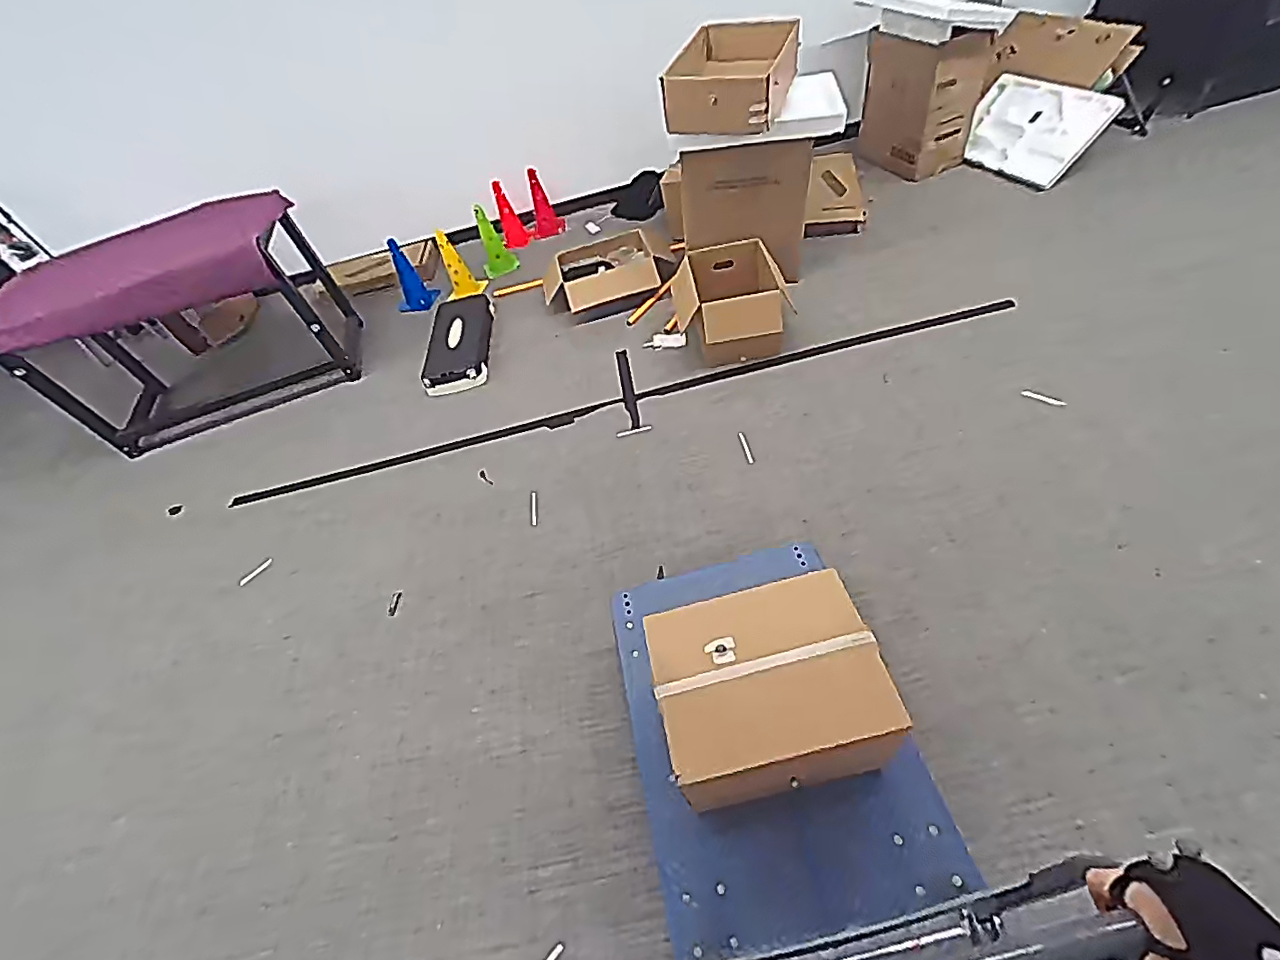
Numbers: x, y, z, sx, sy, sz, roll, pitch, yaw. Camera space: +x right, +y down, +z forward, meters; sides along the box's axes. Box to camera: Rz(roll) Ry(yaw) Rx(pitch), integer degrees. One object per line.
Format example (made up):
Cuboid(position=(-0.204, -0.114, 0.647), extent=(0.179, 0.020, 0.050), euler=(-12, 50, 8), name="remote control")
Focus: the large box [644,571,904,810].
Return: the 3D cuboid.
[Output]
Cuboid(position=(0.257, 0.442, 1.118), extent=(0.408, 0.320, 0.320), euler=(-16, 48, 1), name="large box")
